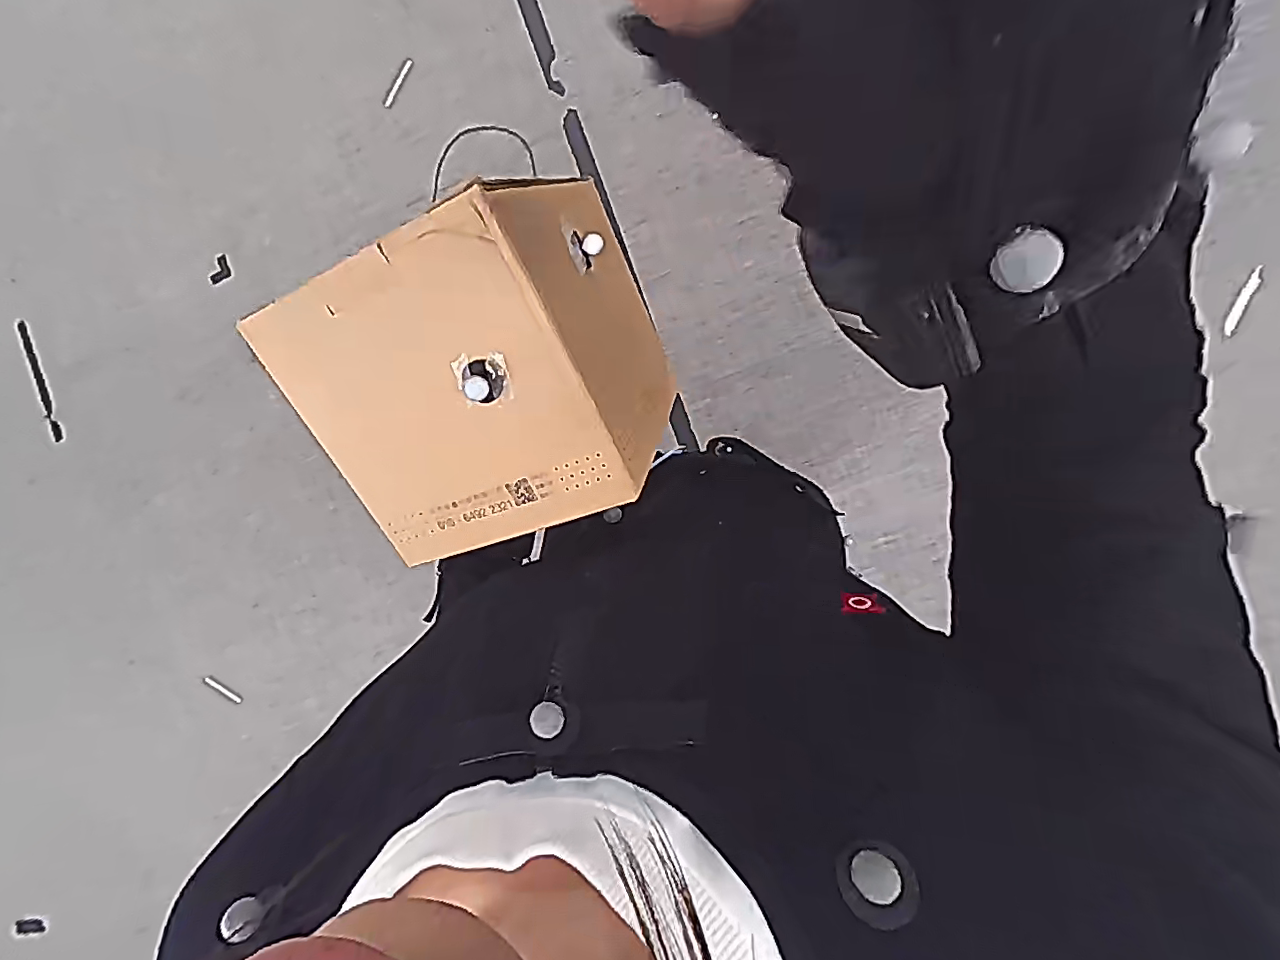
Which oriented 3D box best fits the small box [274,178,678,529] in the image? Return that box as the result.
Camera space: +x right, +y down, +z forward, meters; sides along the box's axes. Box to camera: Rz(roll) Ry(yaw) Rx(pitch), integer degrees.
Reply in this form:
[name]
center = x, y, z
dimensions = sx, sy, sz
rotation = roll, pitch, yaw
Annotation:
[small box]
center = -0.085, -0.082, 0.374
dimensions = 0.168, 0.179, 0.176
rotation = -16, 114, 21
